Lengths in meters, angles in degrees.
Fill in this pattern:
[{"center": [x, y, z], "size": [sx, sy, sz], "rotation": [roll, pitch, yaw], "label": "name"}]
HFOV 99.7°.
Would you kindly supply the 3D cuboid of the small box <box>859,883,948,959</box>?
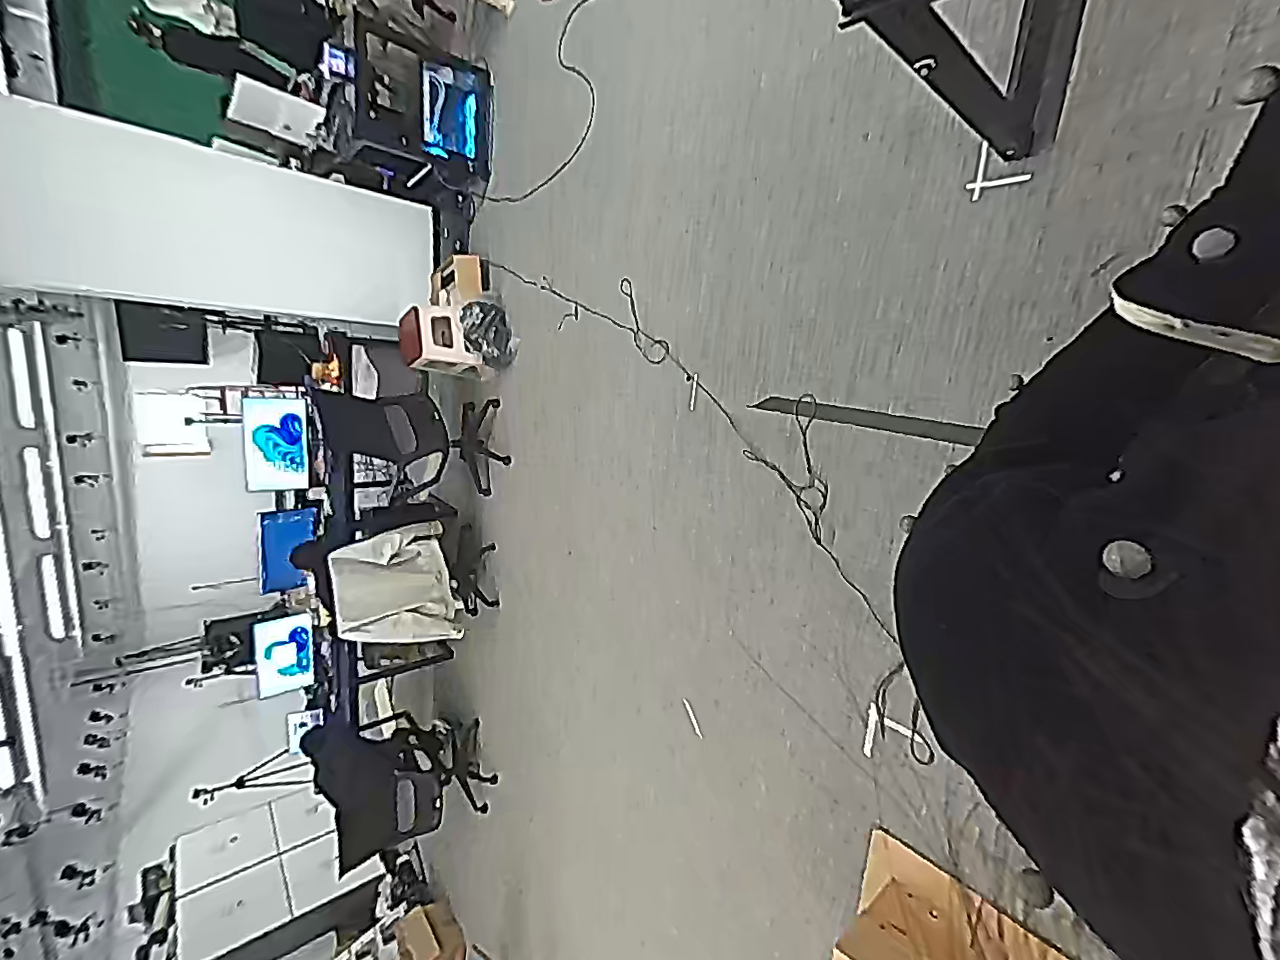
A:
[{"center": [0.728, 1.276, 1.493], "size": [0.168, 0.176, 0.179], "rotation": [11, 103, 48], "label": "small box"}]
